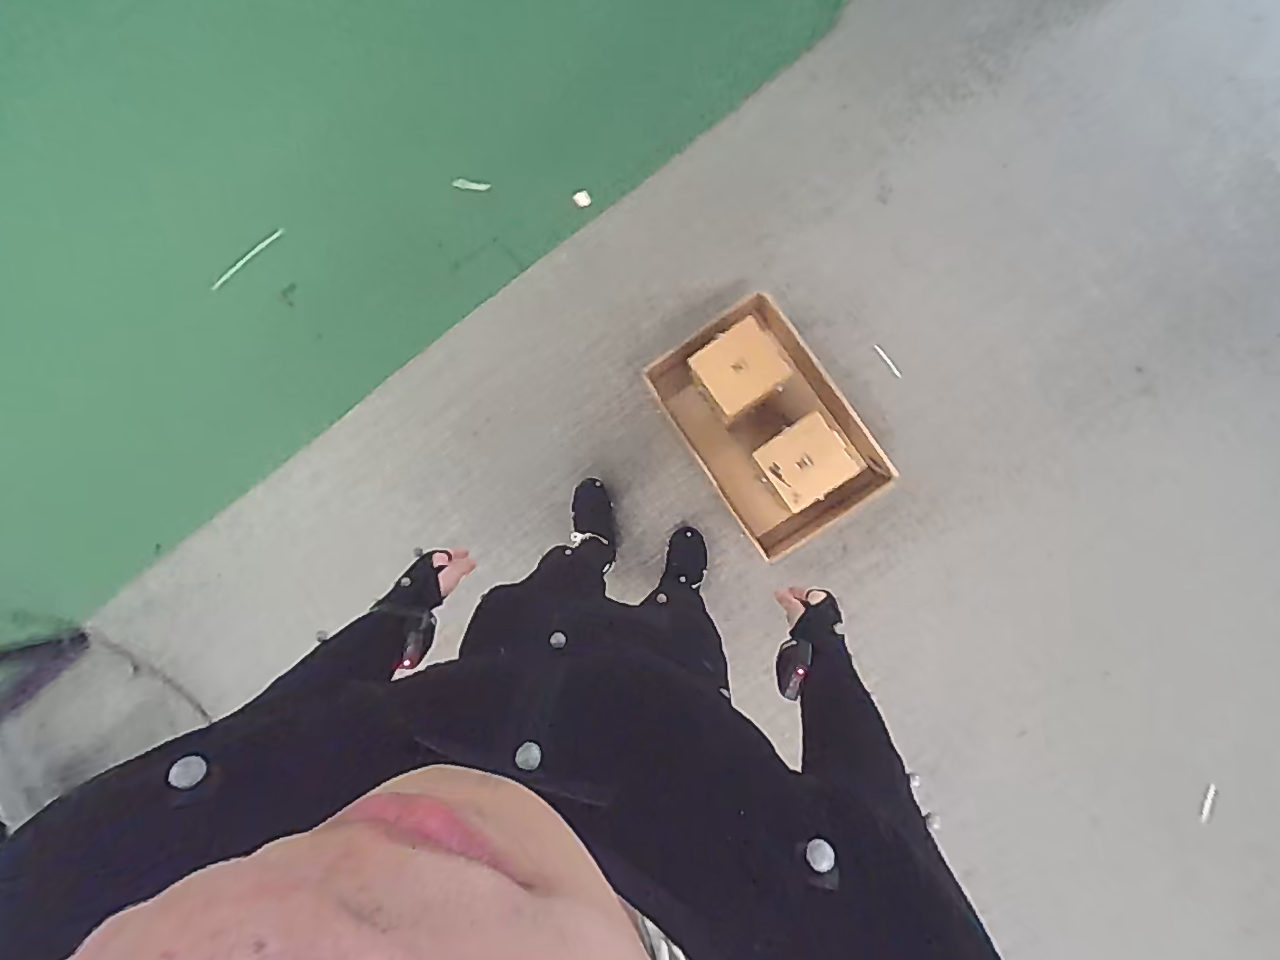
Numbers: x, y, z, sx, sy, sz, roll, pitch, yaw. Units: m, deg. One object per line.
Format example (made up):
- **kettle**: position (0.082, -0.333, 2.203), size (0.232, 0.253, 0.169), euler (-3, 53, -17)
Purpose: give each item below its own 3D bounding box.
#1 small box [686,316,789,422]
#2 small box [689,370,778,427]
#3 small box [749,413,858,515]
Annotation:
- **small box**: position (0.231, -0.256, 1.297), size (0.179, 0.176, 0.168), euler (-35, 85, 6)
- **small box**: position (0.250, -0.258, 1.458), size (0.179, 0.176, 0.168), euler (-34, 86, 5)
- **small box**: position (0.374, -0.034, 1.274), size (0.179, 0.176, 0.168), euler (-34, 83, 6)
